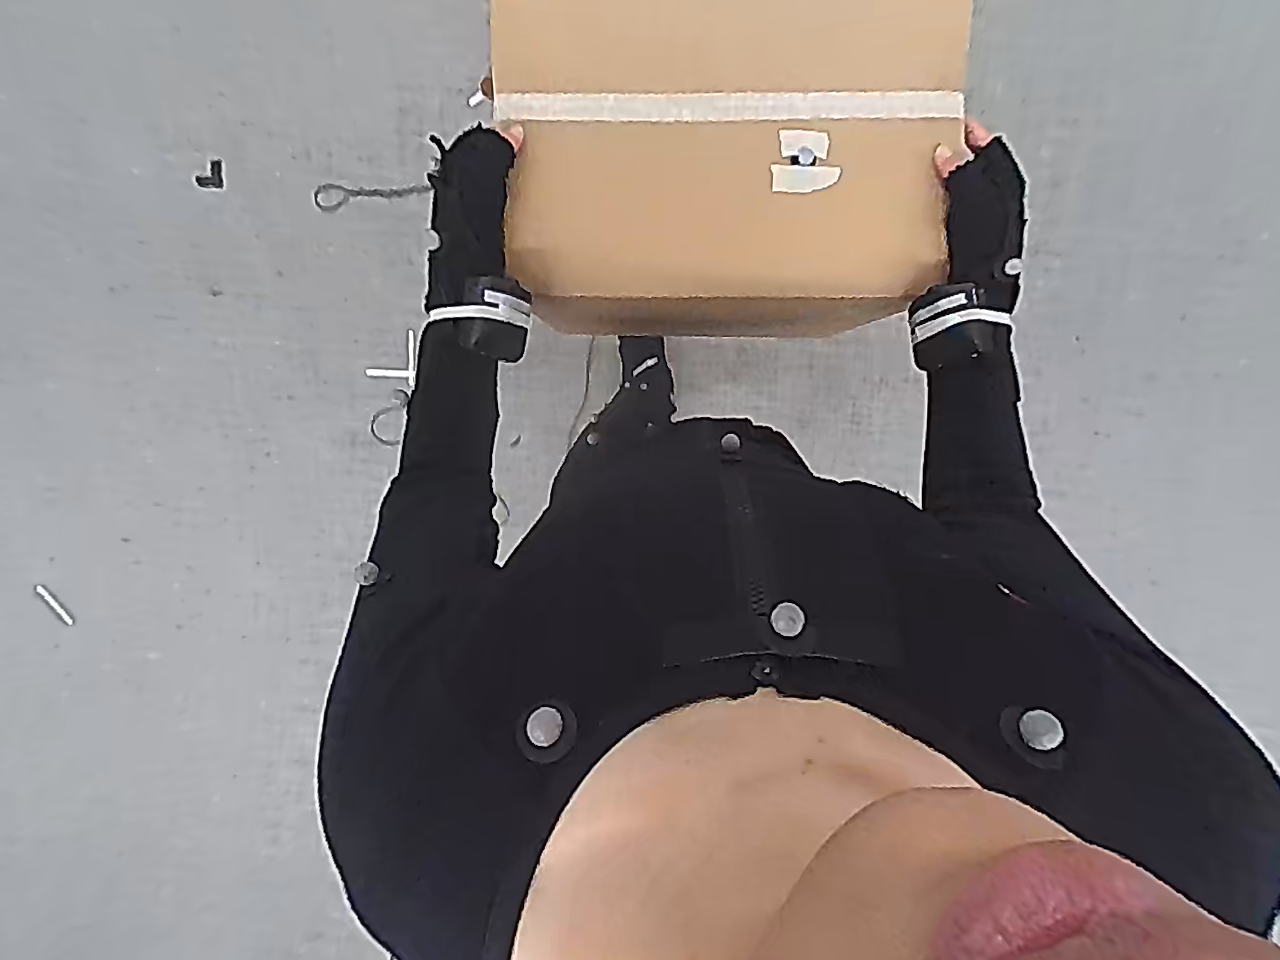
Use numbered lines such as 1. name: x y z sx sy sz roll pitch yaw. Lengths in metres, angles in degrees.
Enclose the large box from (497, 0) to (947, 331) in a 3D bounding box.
1. large box: 0.072 -0.357 0.637 0.408 0.320 0.320 0 99 0
